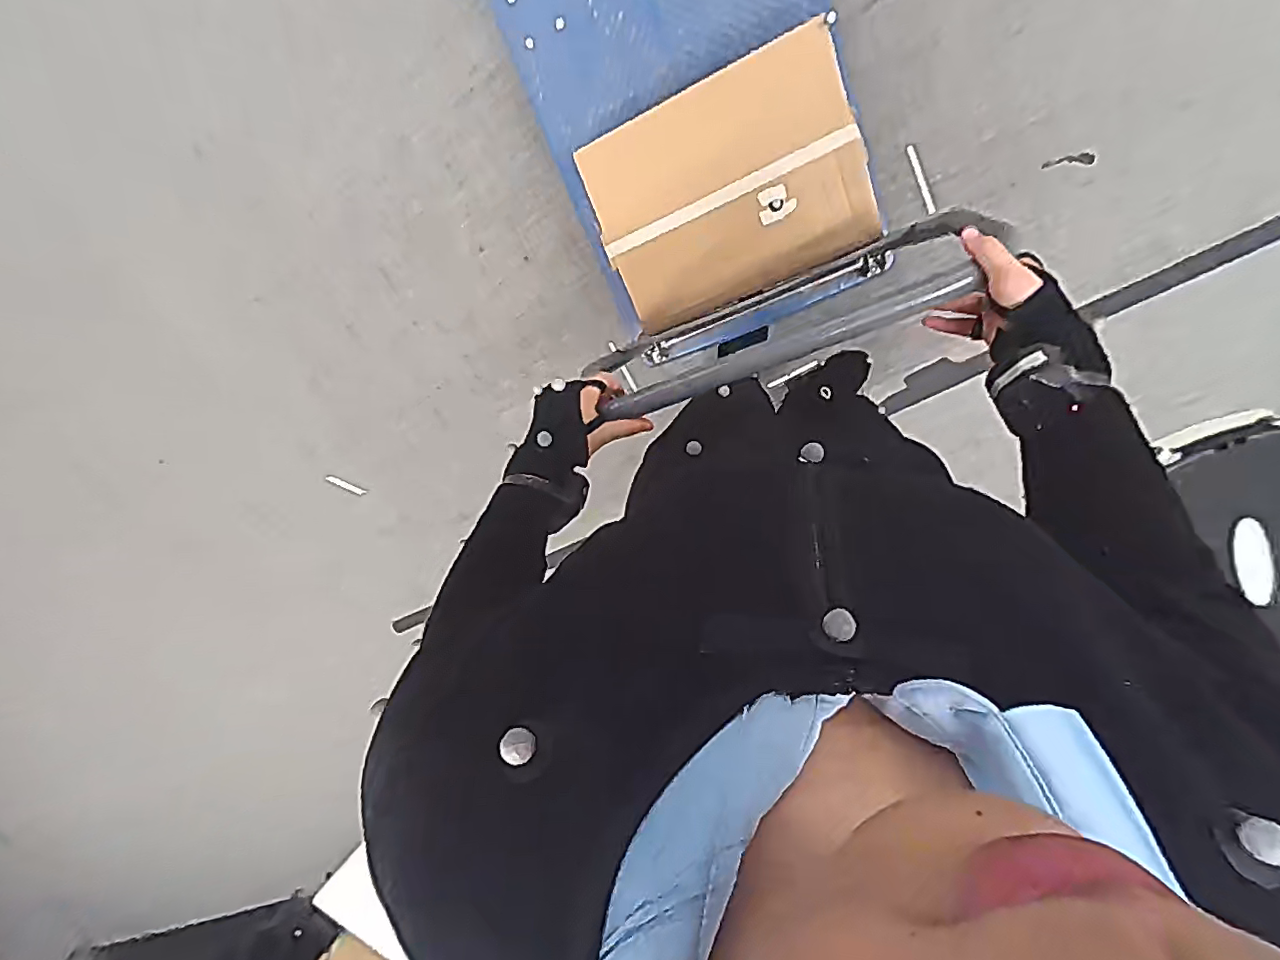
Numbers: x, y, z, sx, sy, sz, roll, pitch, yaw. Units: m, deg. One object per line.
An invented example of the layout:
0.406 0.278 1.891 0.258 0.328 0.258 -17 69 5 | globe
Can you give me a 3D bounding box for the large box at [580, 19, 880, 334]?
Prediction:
0.161 -0.504 0.993 0.408 0.320 0.320 -19 108 17 | large box
